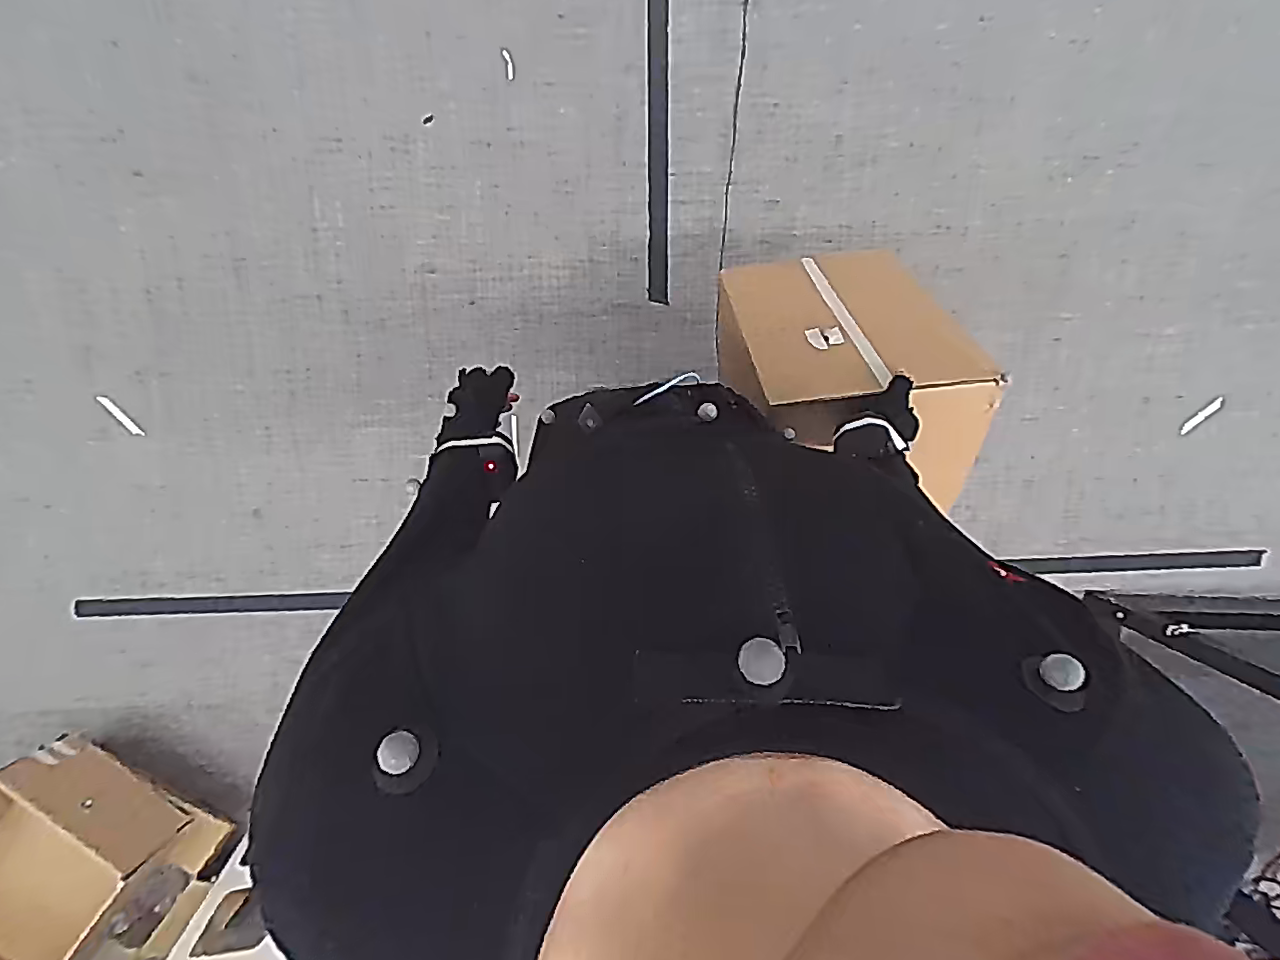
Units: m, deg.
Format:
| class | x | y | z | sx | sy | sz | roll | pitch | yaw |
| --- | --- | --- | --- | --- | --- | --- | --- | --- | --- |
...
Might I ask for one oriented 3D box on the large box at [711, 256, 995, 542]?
| class | x | y | z | sx | sy | sz | roll | pitch | yaw |
| --- | --- | --- | --- | --- | --- | --- | --- | --- | --- |
| large box | 0.314 | -0.149 | 0.956 | 0.320 | 0.408 | 0.320 | -6 | 137 | 1 |
